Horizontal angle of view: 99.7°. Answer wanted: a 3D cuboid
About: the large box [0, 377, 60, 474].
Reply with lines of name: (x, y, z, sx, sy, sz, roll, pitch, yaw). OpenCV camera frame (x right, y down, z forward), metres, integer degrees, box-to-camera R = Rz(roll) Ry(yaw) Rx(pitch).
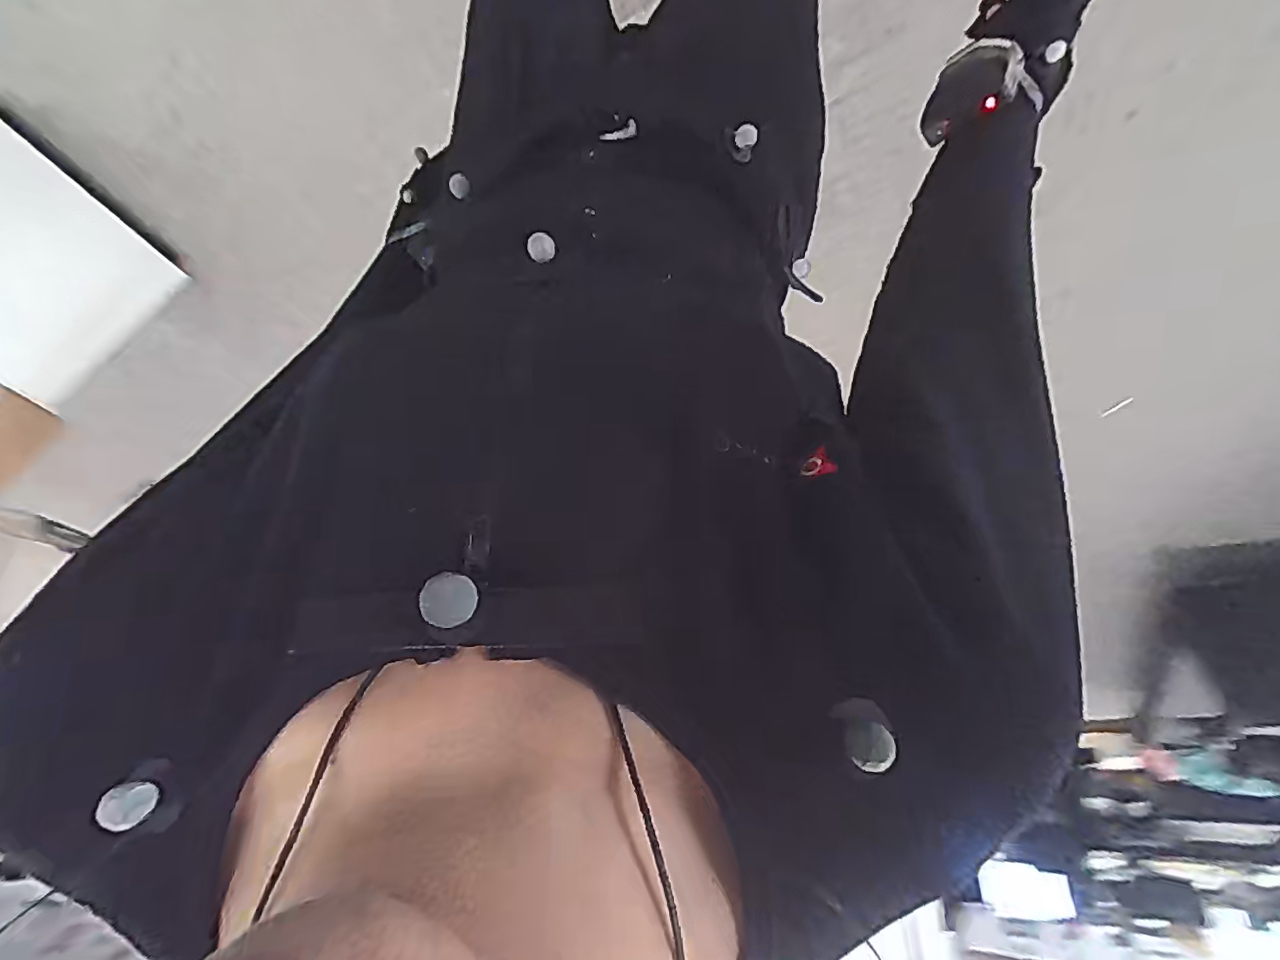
large box: (-1.639, -0.096, 1.187, 0.408, 0.320, 0.320, -10, 139, 25)
